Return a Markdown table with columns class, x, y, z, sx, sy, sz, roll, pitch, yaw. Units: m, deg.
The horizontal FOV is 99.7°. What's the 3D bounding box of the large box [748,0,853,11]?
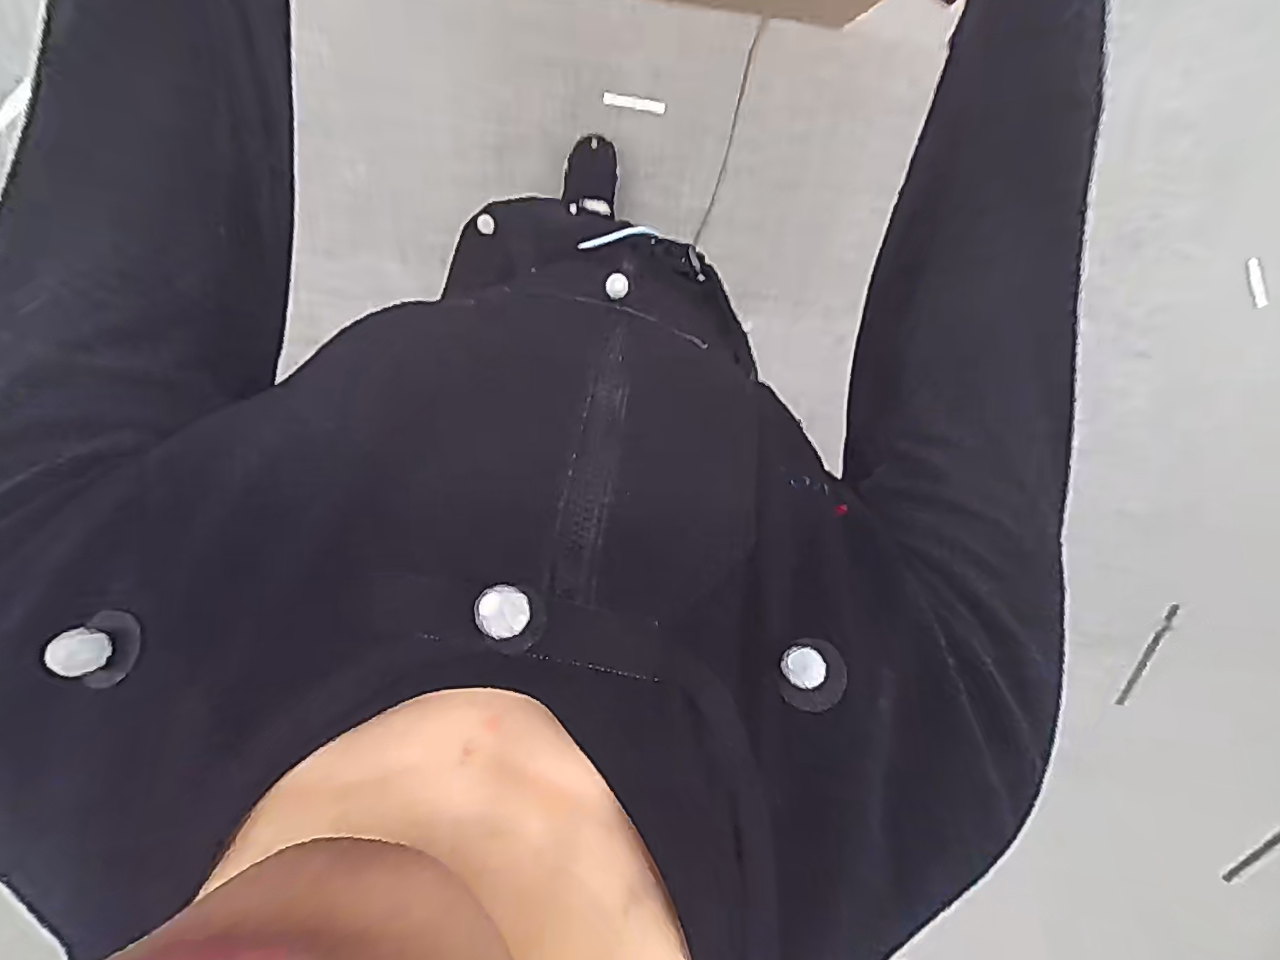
| class | x | y | z | sx | sy | sz | roll | pitch | yaw |
| --- | --- | --- | --- | --- | --- | --- | --- | --- | --- |
| large box | 0.038 | -0.585 | 0.381 | 0.408 | 0.320 | 0.320 | 8 | 120 | -2 |
